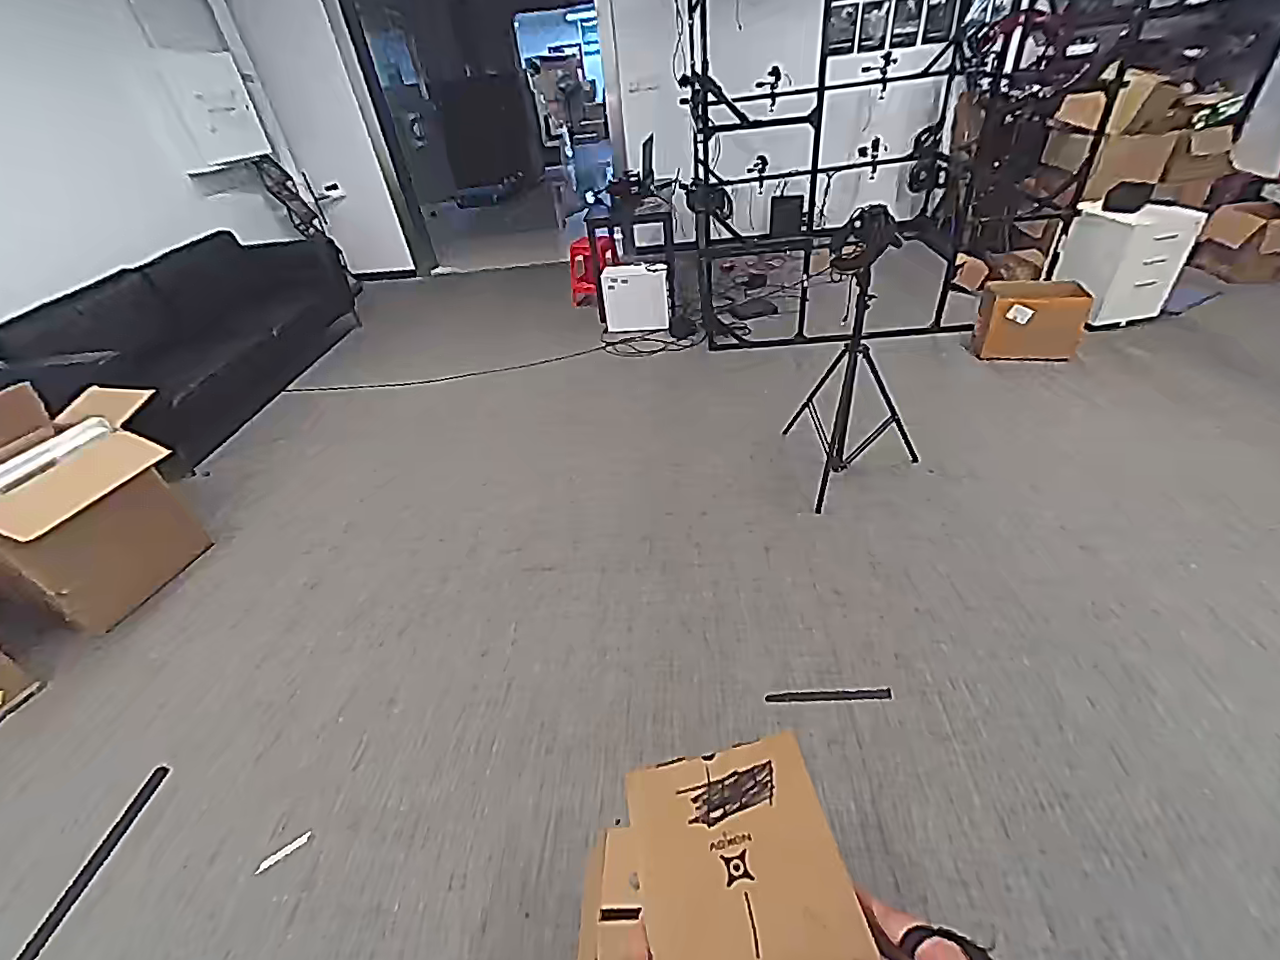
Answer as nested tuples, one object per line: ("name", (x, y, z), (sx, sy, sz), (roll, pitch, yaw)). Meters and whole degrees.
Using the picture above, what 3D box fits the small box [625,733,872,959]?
("small box", (0.088, 0.374, 0.500), (0.168, 0.176, 0.179), (-14, 38, -1))
